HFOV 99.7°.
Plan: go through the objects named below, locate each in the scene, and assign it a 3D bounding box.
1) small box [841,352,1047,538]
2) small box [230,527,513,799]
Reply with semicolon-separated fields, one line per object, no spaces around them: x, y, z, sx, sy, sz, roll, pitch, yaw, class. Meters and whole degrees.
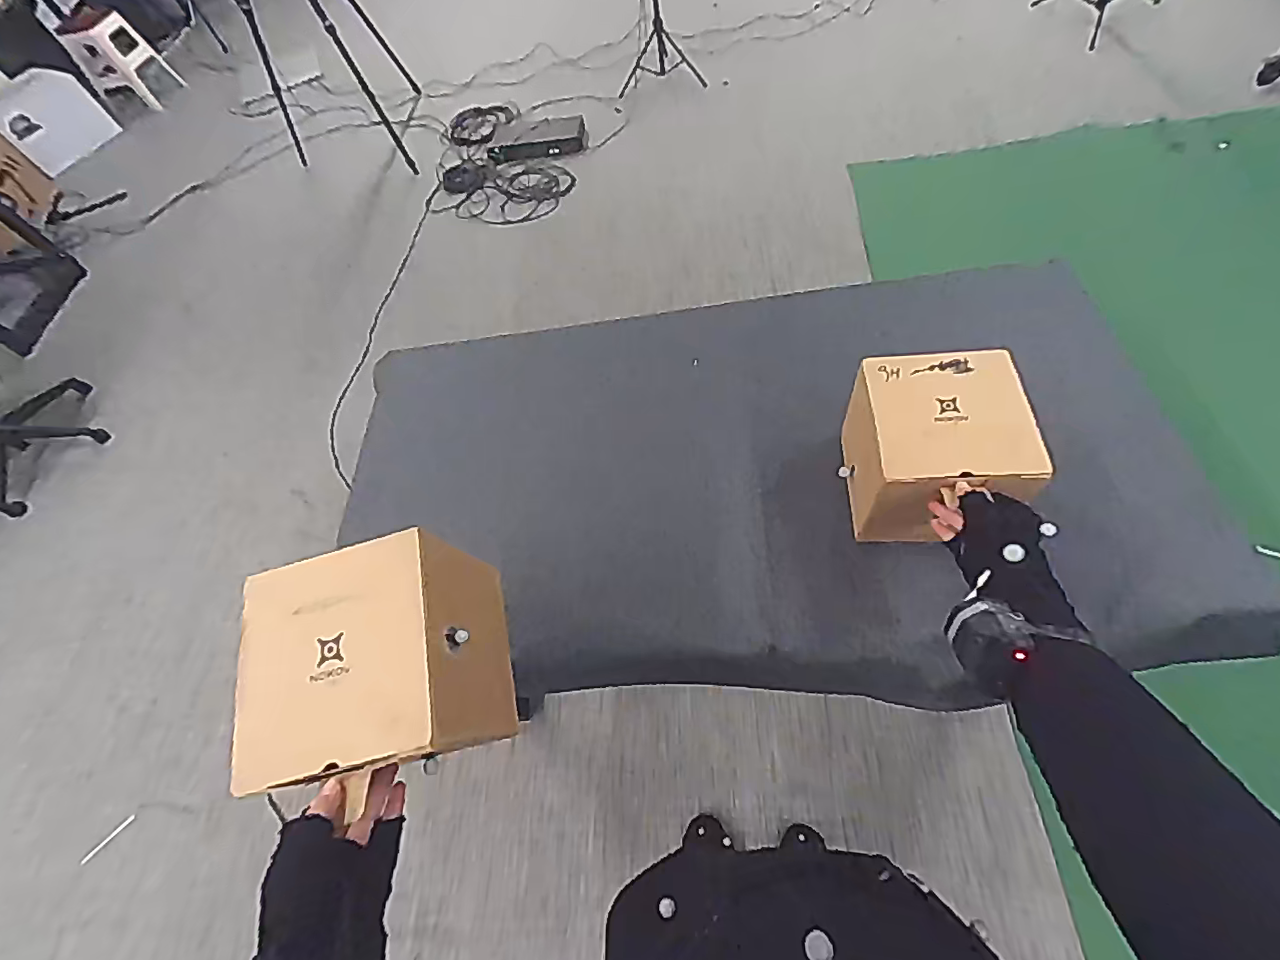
0.357;-0.035;0.676;0.168;0.176;0.179;-1;61;9;small box
-0.230;0.166;0.499;0.168;0.176;0.179;-16;66;3;small box
